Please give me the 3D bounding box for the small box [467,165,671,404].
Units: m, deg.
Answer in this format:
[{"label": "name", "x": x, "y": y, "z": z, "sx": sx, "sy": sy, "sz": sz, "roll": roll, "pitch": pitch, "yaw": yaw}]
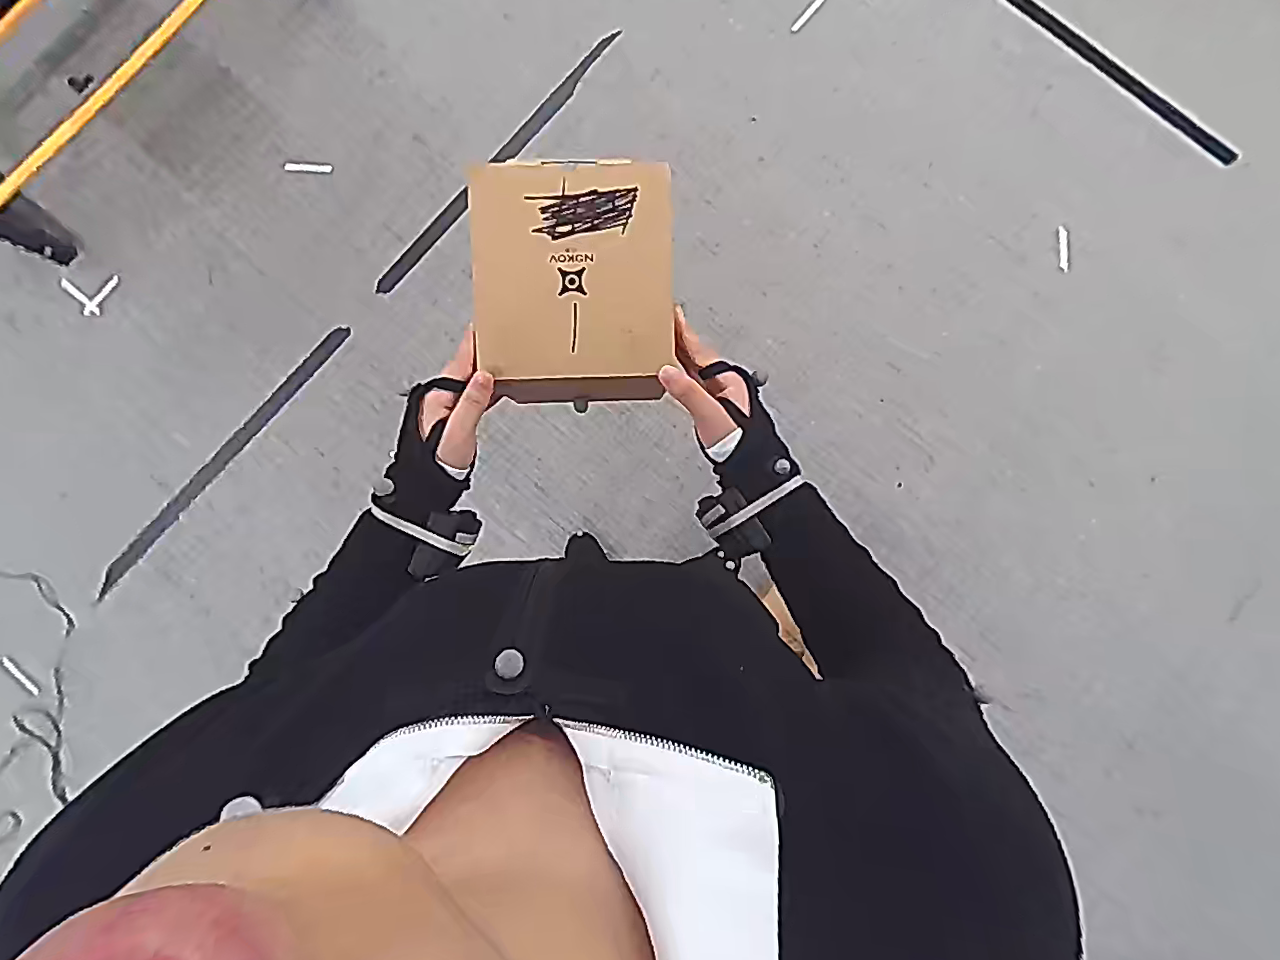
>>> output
[{"label": "small box", "x": -0.062, "y": -0.173, "z": 0.525, "sx": 0.168, "sy": 0.176, "sz": 0.179, "roll": -3, "pitch": 92, "yaw": -2}]
